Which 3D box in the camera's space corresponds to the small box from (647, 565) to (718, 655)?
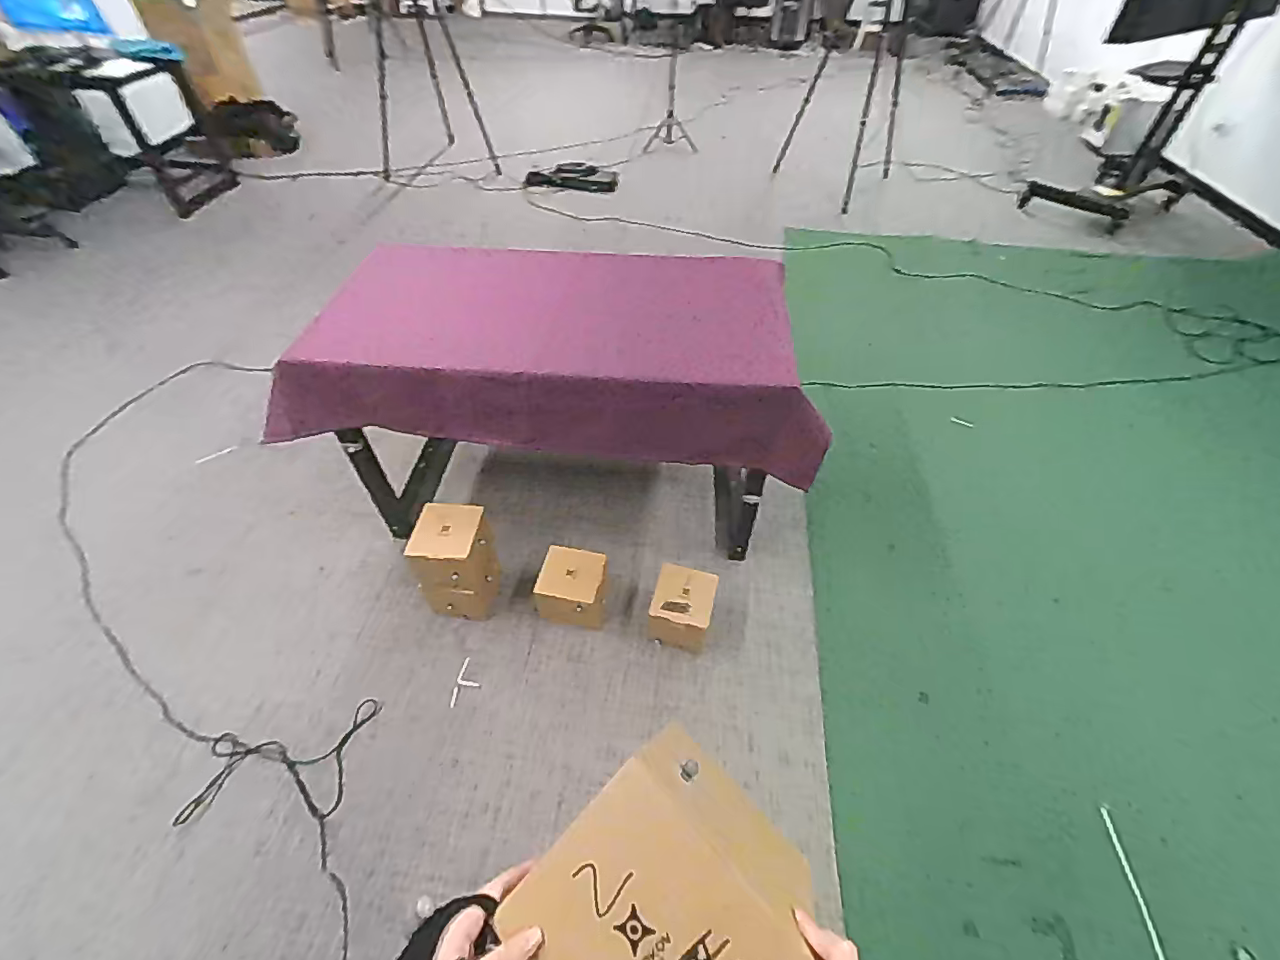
[{"bbox_3d":[0.123,0.380,1.565,0.168,0.176,0.179,13,48,10],"label":"small box"}]
